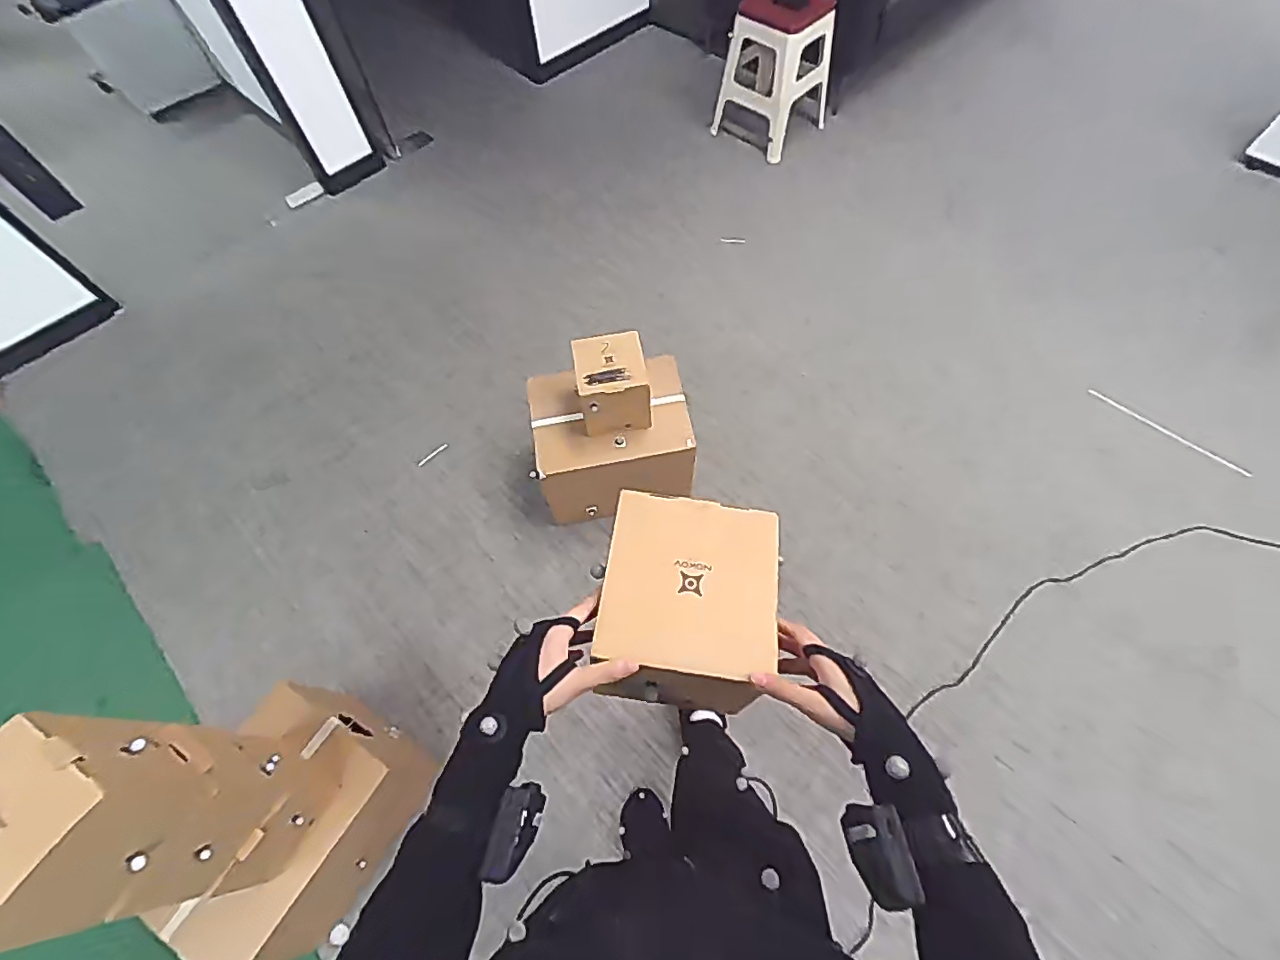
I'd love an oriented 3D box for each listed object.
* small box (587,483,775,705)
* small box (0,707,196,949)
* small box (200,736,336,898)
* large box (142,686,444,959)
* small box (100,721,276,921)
[{"bbox_3d":[0.043,0.128,0.578,0.168,0.176,0.179,8,57,2],"label":"small box"},{"bbox_3d":[-0.692,0.405,0.647,0.168,0.176,0.179,27,65,16],"label":"small box"},{"bbox_3d":[-0.676,0.565,0.933,0.179,0.176,0.168,28,66,16],"label":"small box"},{"bbox_3d":[-0.699,0.708,1.134,0.320,0.320,0.408,27,67,17],"label":"large box"},{"bbox_3d":[-0.682,0.483,0.792,0.168,0.176,0.179,27,66,16],"label":"small box"}]
